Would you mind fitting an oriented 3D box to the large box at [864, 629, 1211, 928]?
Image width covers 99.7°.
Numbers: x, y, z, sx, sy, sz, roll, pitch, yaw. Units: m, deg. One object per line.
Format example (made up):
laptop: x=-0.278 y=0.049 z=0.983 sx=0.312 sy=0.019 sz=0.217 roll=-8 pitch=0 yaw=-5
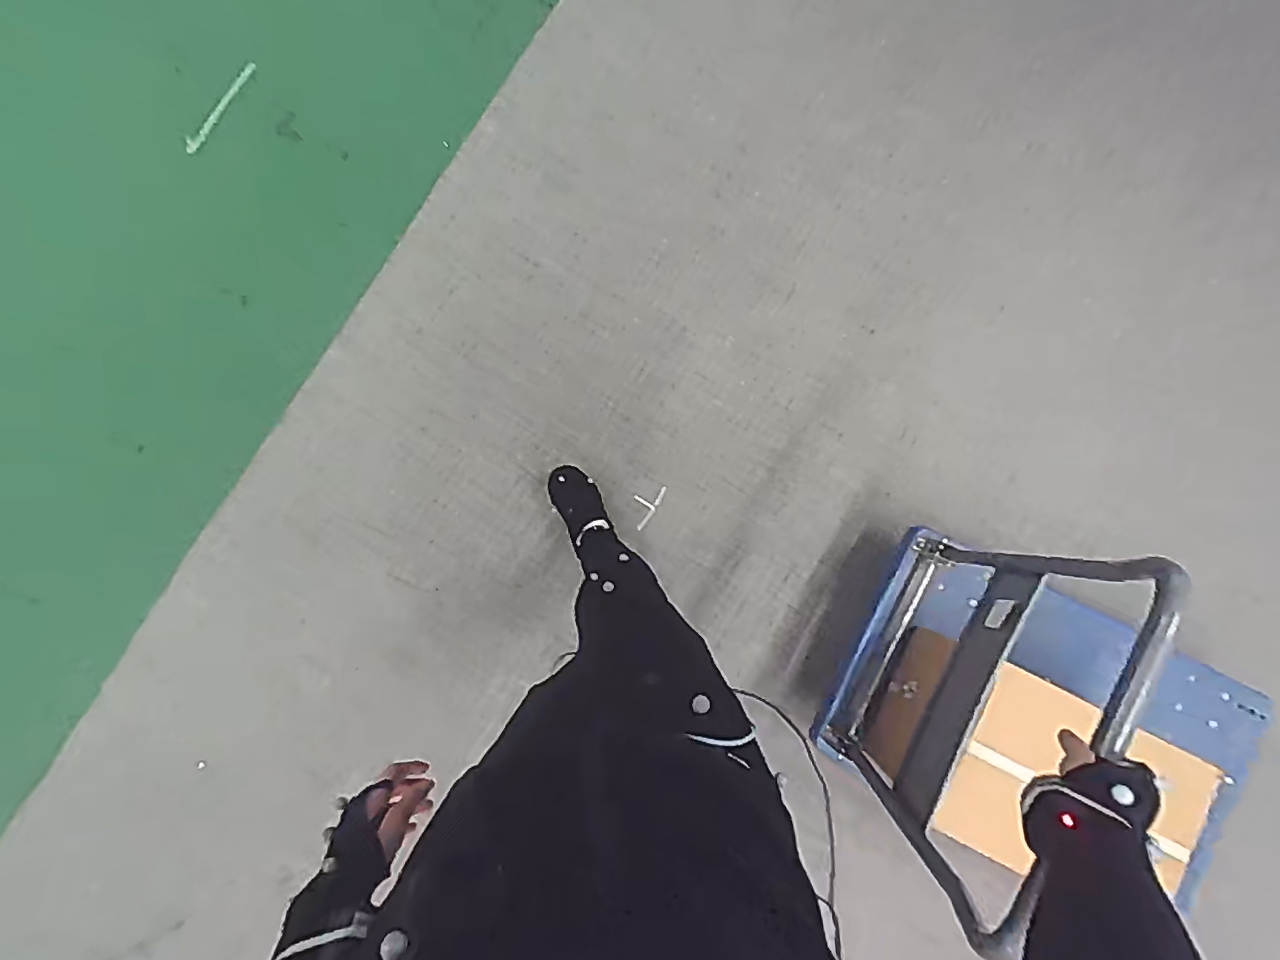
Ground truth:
large box: x=0.740 y=0.546 z=1.077 sx=0.408 sy=0.320 sz=0.320 roll=27 pitch=88 yaw=3
